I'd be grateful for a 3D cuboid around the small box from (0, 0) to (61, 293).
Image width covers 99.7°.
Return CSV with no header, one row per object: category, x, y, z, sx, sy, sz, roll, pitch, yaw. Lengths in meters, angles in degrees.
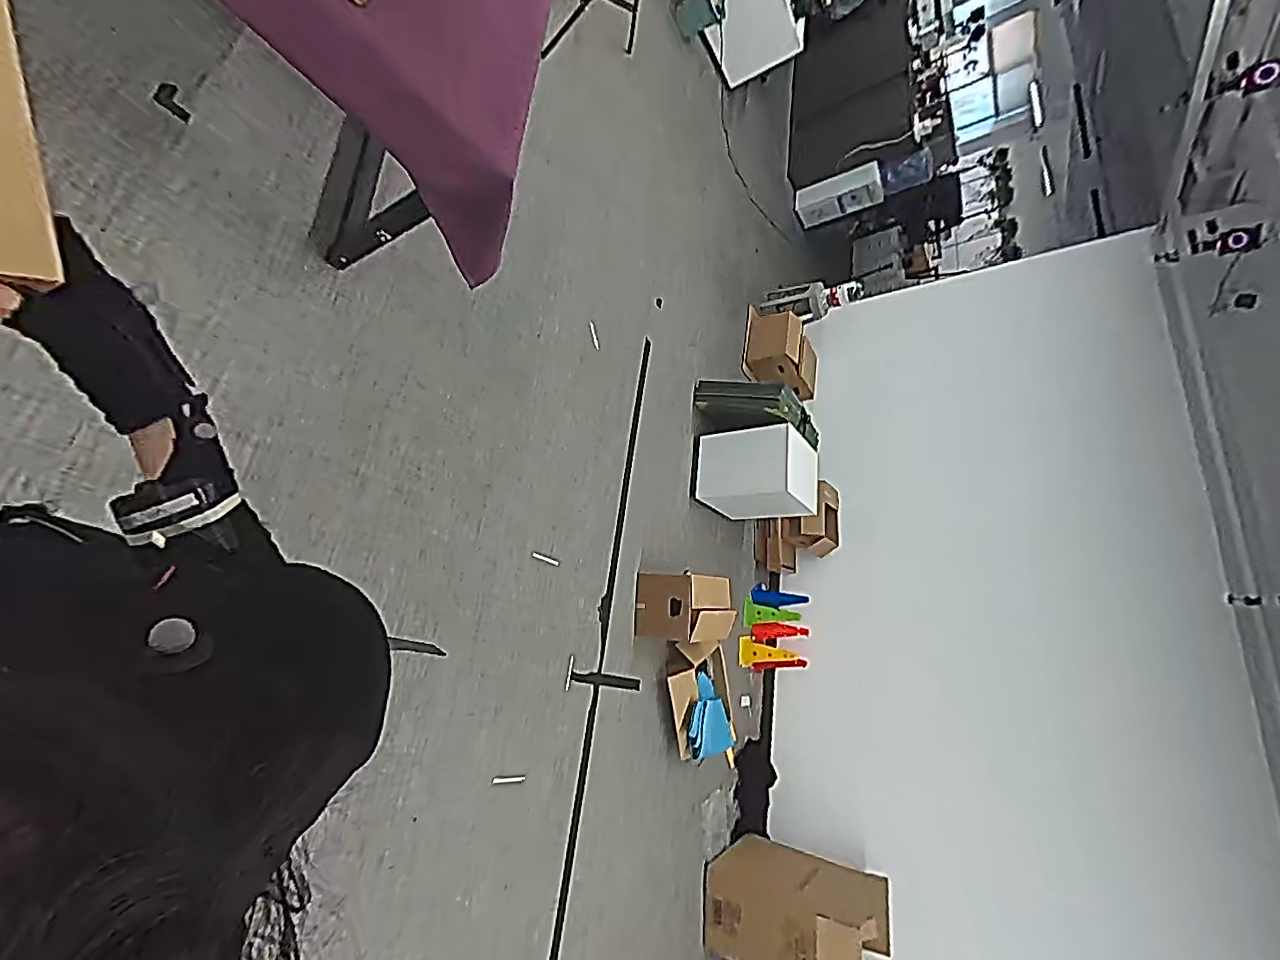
small box,-0.458,-0.197,0.275,0.168,0.176,0.179,-20,107,-62
